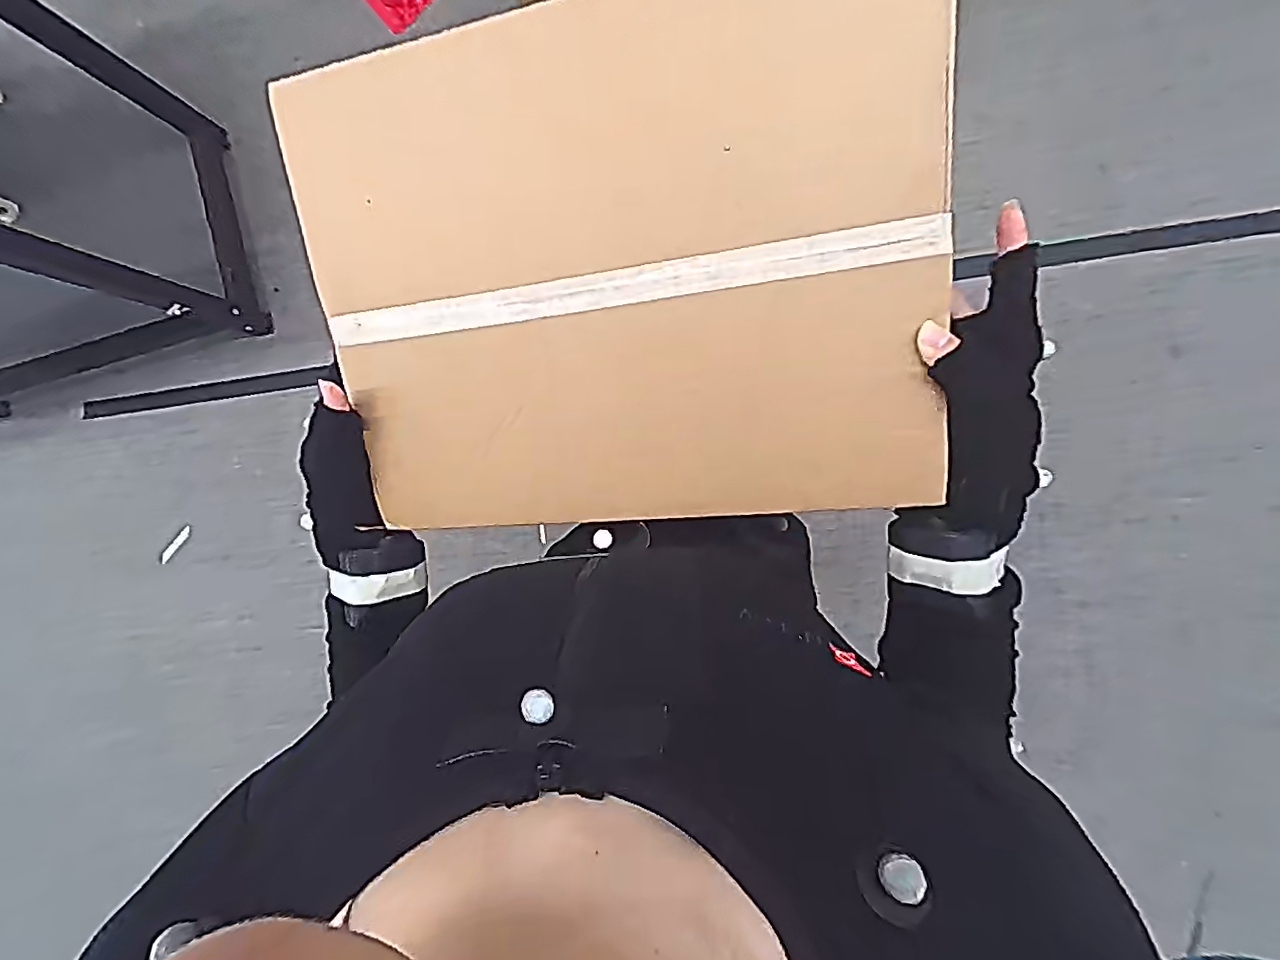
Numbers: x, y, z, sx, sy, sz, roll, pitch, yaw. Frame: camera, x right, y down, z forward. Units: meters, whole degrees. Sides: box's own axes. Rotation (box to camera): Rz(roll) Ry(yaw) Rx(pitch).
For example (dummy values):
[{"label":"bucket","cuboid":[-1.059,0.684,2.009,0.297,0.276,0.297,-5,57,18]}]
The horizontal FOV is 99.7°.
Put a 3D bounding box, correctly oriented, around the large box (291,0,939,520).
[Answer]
[{"label":"large box","cuboid":[0.010,-0.171,0.490,0.408,0.320,0.320,-4,105,14]}]
